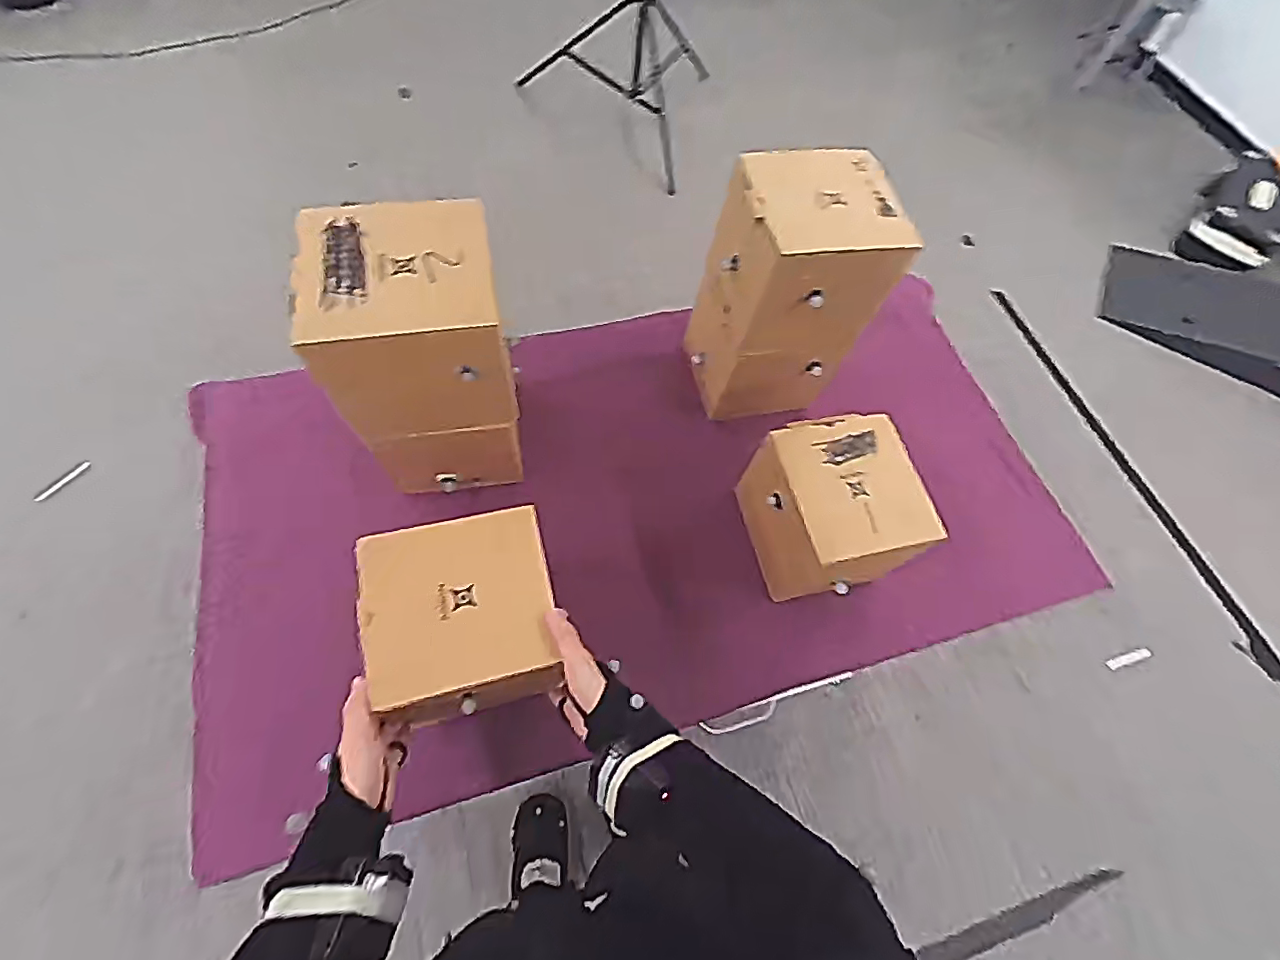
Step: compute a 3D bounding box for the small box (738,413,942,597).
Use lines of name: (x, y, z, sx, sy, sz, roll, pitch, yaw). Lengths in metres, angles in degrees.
small box: (0.245, 0.038, 0.718, 0.168, 0.176, 0.179, -10, 65, -11)

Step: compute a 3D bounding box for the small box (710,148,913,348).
small box: (0.197, -0.285, 0.687, 0.179, 0.176, 0.168, -9, 67, -10)

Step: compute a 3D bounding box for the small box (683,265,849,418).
small box: (0.181, -0.214, 0.834, 0.179, 0.176, 0.168, -10, 66, -11)

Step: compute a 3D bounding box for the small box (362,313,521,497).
small box: (-0.256, -0.096, 0.724, 0.168, 0.176, 0.179, -8, 68, -9)
